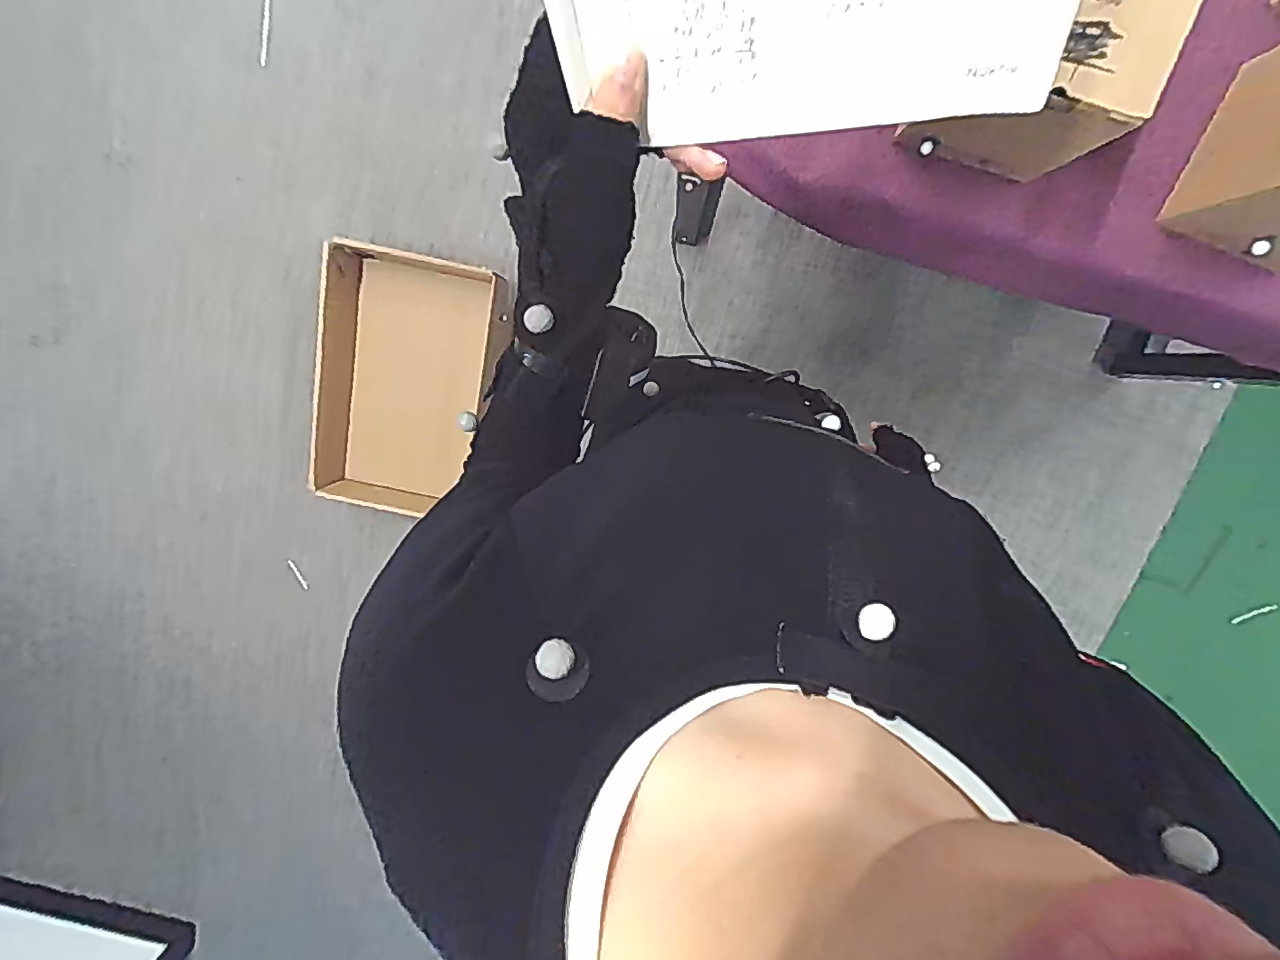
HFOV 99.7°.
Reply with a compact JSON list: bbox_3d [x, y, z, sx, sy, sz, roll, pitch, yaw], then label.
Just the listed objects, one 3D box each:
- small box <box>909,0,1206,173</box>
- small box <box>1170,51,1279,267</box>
[{"bbox_3d":[0.394,-0.433,0.527,0.168,0.176,0.179,18,103,-1],"label":"small box"},{"bbox_3d":[0.701,-0.334,0.532,0.168,0.176,0.179,21,103,-1],"label":"small box"}]
